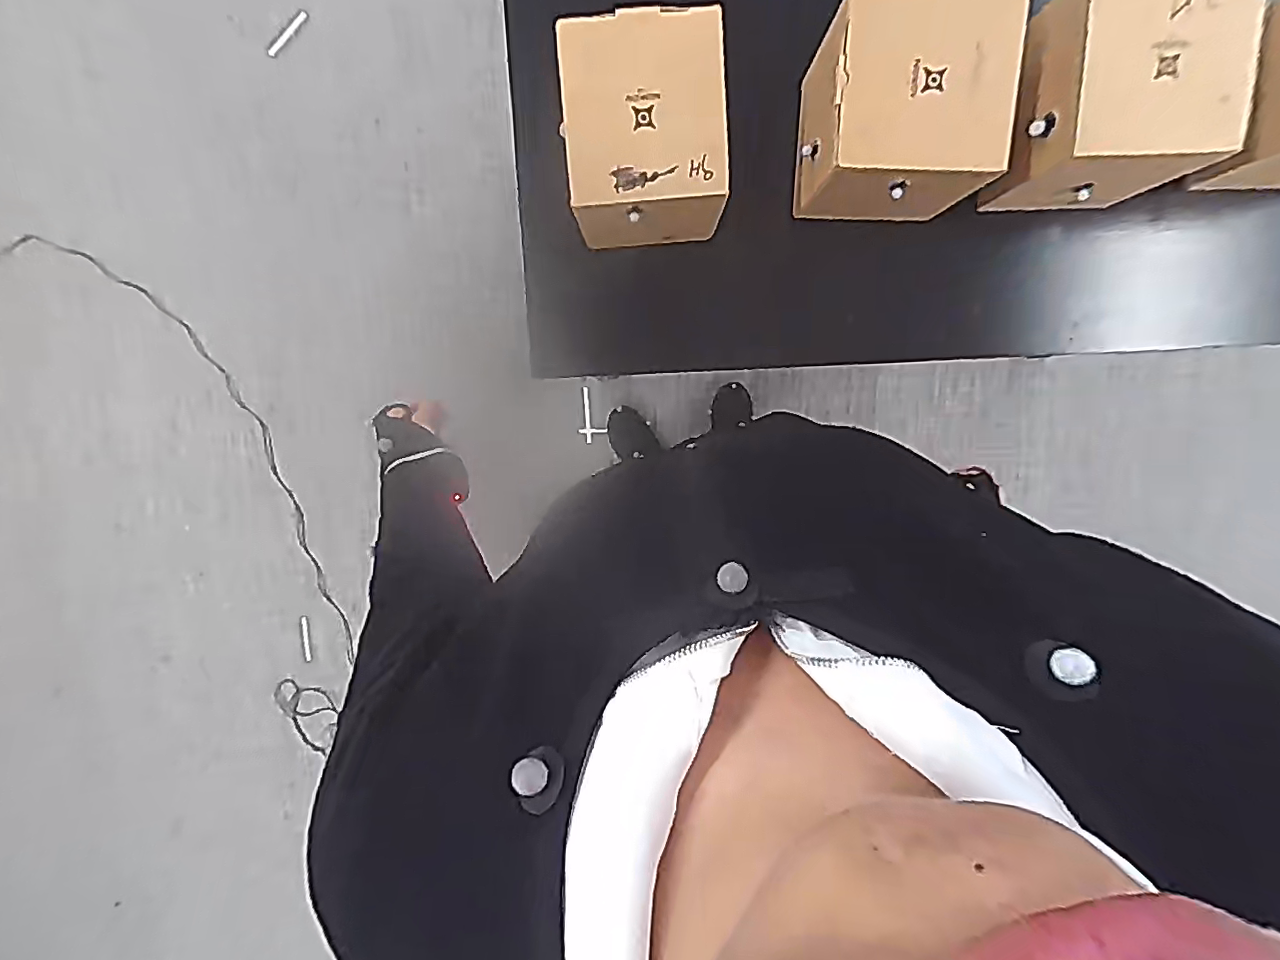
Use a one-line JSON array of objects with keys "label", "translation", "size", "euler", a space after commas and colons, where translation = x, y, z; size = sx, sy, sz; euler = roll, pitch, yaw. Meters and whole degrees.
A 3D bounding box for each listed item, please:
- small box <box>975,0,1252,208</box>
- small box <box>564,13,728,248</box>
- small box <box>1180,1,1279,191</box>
[{"label": "small box", "translation": [0.512, -0.423, 0.614], "size": [0.168, 0.176, 0.179], "euler": [0, 99, 1]}, {"label": "small box", "translation": [0.008, -0.390, 0.633], "size": [0.168, 0.176, 0.179], "euler": [-3, 99, 2]}, {"label": "small box", "translation": [0.773, -0.440, 0.604], "size": [0.179, 0.176, 0.168], "euler": [0, 99, 1]}]
